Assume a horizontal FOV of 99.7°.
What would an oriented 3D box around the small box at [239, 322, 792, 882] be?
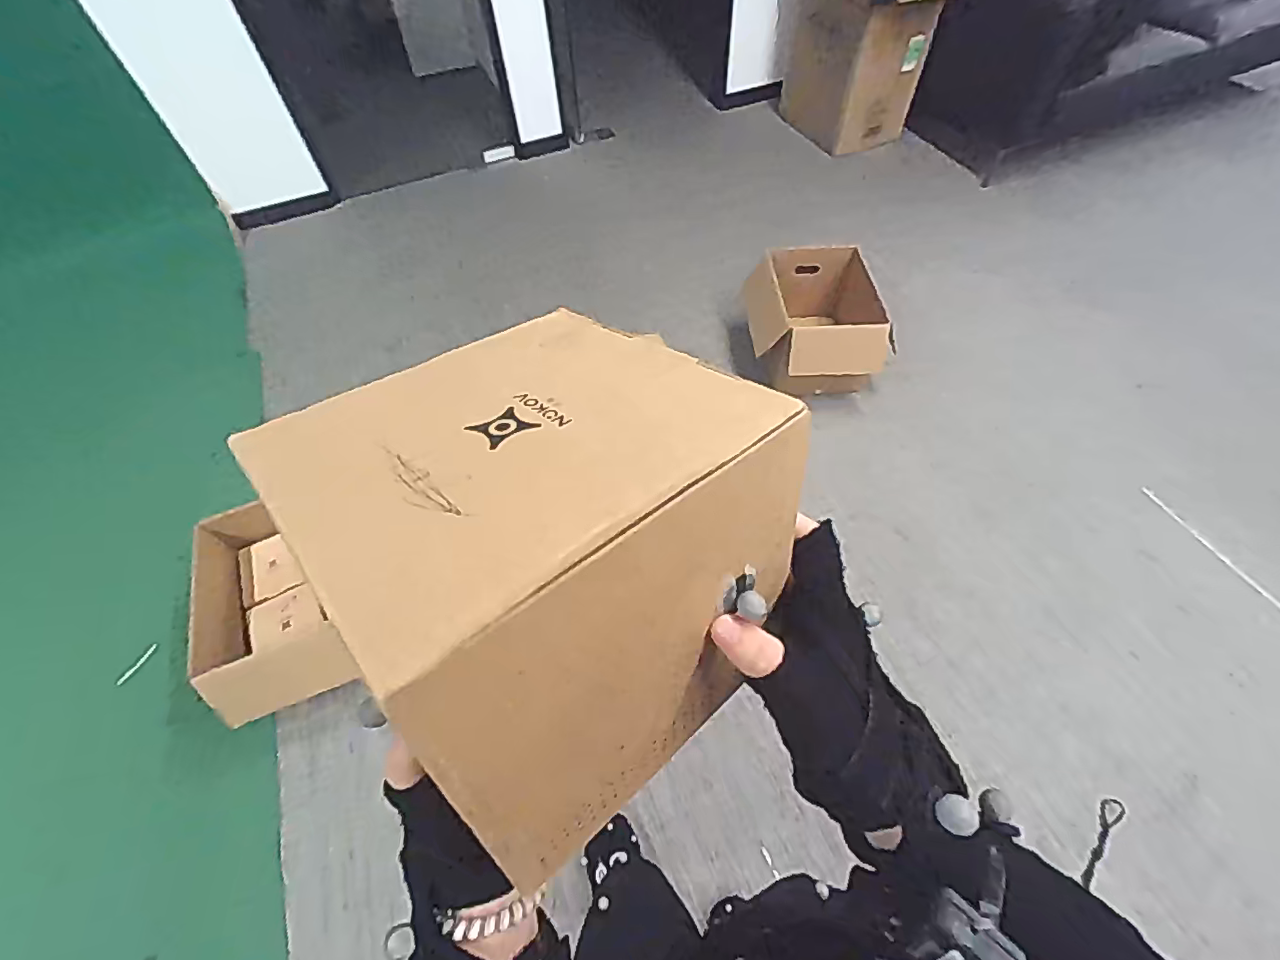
[{"bbox_3d":[-0.049,0.046,0.275,0.179,0.176,0.168,-33,46,-29],"label":"small box"}]
